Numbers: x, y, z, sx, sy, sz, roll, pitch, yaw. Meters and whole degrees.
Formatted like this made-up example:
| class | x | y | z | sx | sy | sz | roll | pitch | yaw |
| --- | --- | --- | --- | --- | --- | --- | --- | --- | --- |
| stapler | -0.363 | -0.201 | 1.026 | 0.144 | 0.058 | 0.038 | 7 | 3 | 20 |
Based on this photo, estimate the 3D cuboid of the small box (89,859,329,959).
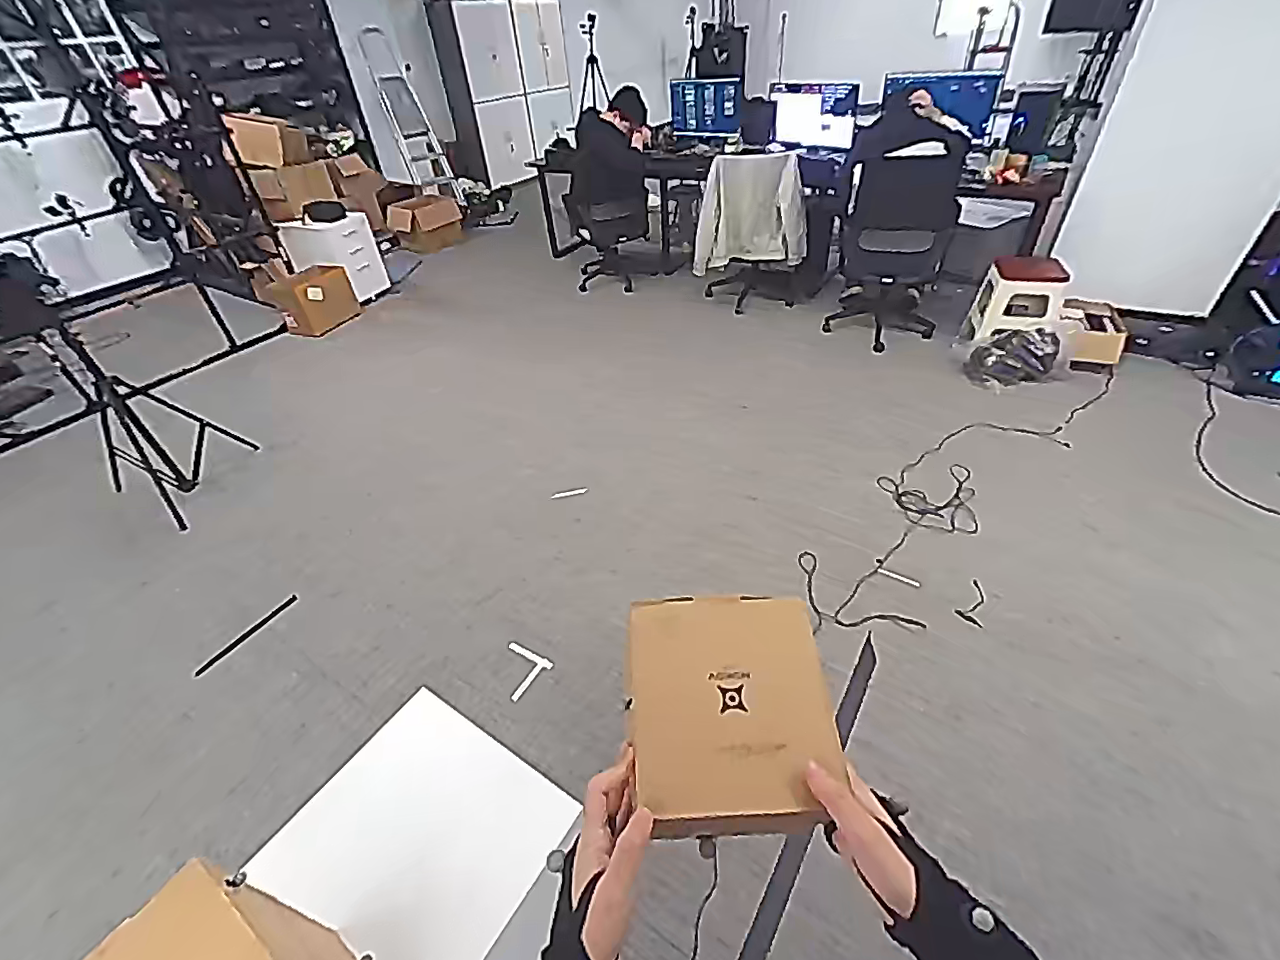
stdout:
| class | x | y | z | sx | sy | sz | roll | pitch | yaw |
| --- | --- | --- | --- | --- | --- | --- | --- | --- | --- |
| small box | -0.414 | 0.514 | 0.511 | 0.179 | 0.176 | 0.168 | 19 | 45 | 27 |

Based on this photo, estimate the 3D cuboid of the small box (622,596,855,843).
| class | x | y | z | sx | sy | sz | roll | pitch | yaw |
| --- | --- | --- | --- | --- | --- | --- | --- | --- | --- |
| small box | 0.070 | 0.225 | 0.507 | 0.168 | 0.176 | 0.179 | 0 | 52 | -4 |

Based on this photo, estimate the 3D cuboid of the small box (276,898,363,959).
| class | x | y | z | sx | sy | sz | roll | pitch | yaw |
| --- | --- | --- | --- | --- | --- | --- | --- | --- | --- |
| small box | -0.404 | 0.639 | 0.616 | 0.179 | 0.176 | 0.168 | 20 | 46 | 29 |
